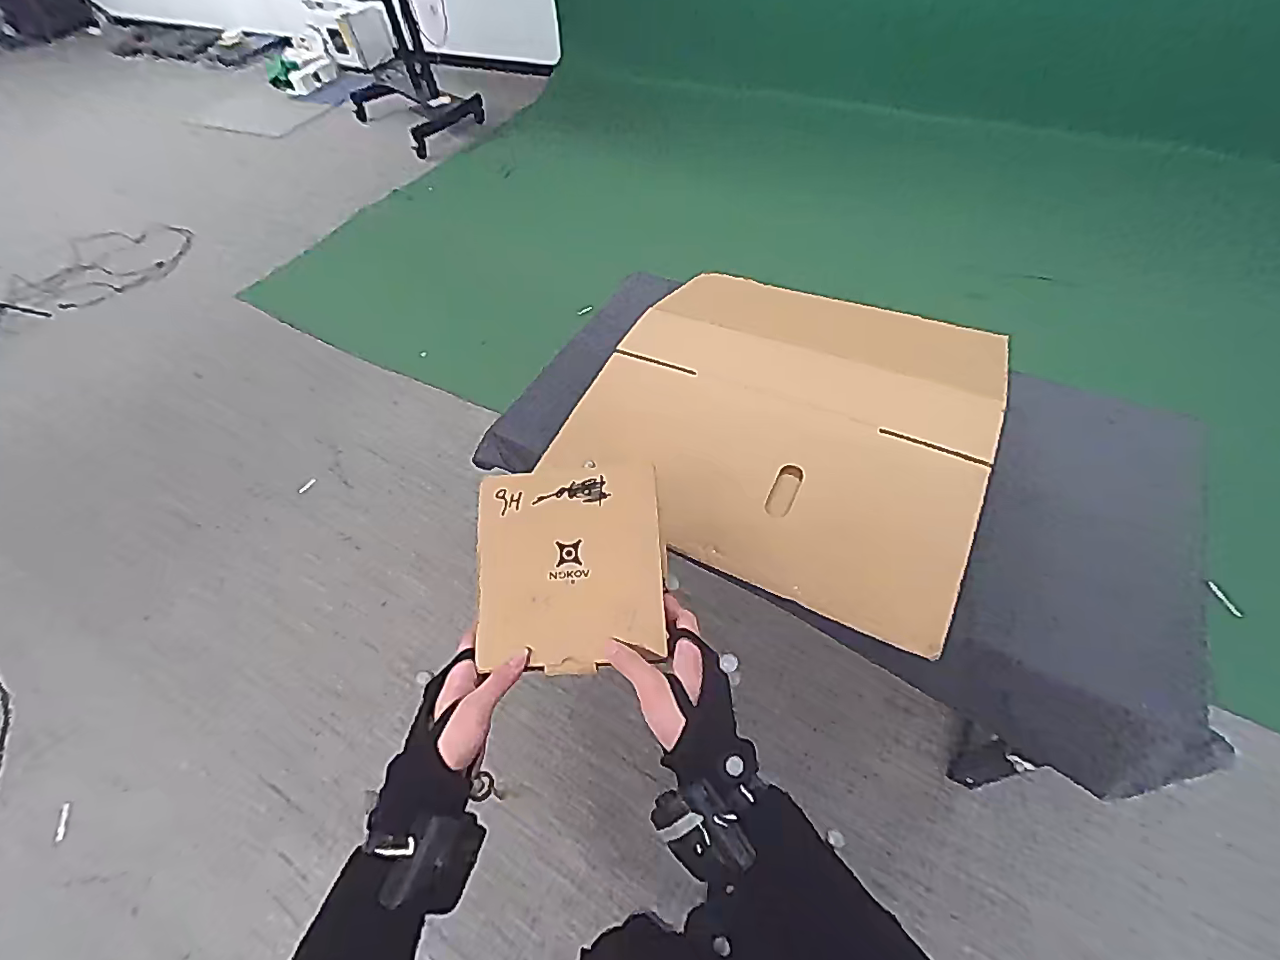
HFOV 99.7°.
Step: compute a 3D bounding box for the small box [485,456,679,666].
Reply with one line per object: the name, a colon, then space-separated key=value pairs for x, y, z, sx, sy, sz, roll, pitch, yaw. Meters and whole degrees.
small box: x=-0.051 y=0.091 z=0.562 sx=0.168 sy=0.176 sz=0.179 roll=-7 pitch=72 yaw=4
